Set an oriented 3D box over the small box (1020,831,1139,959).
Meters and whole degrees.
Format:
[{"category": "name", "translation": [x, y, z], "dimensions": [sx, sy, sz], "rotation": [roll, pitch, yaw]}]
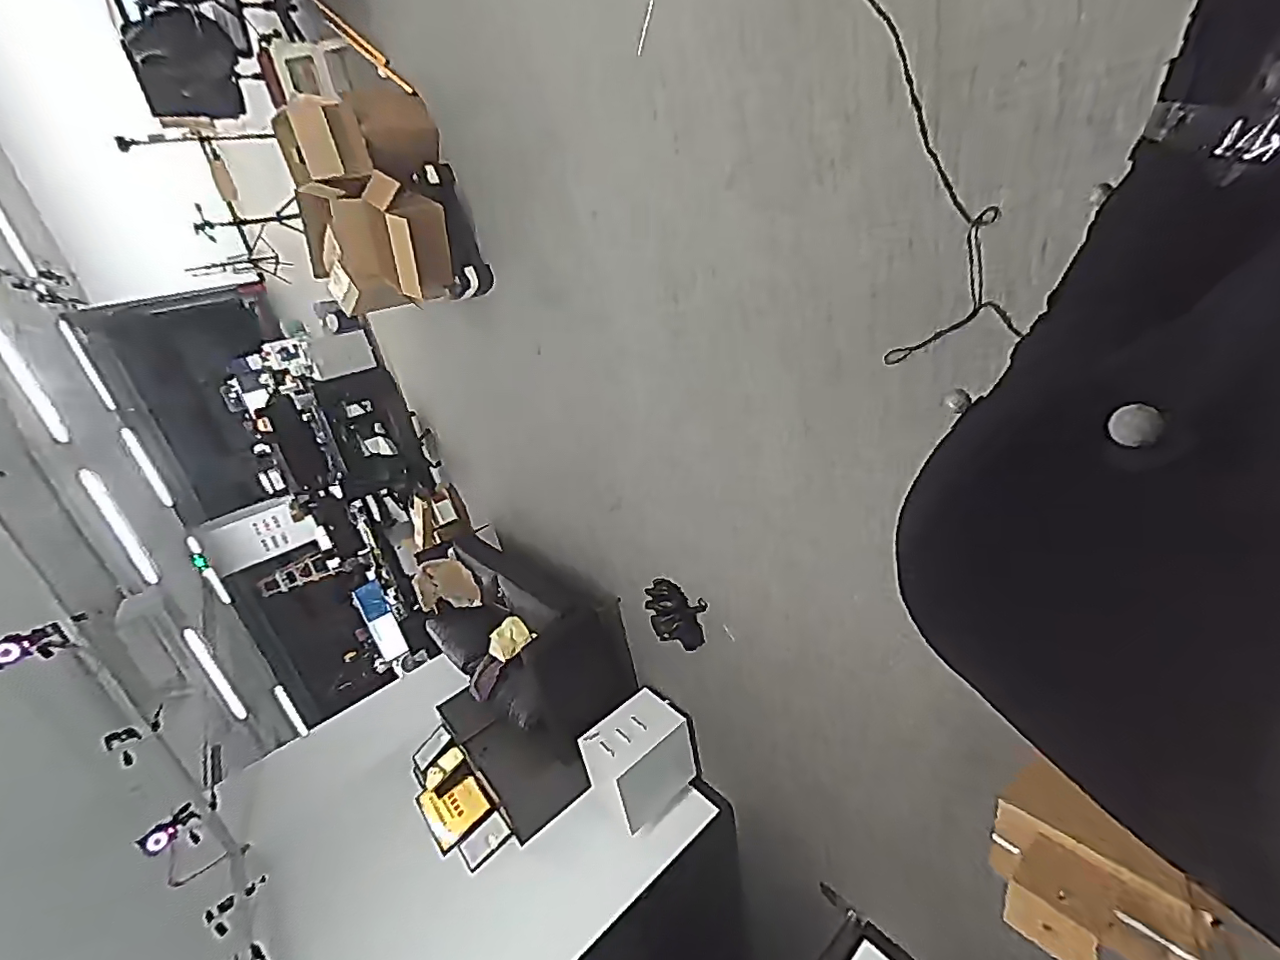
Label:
[{"category": "small box", "translation": [1.041, 0.992, 1.282], "dimensions": [0.179, 0.176, 0.168], "rotation": [19, 126, 51]}]
